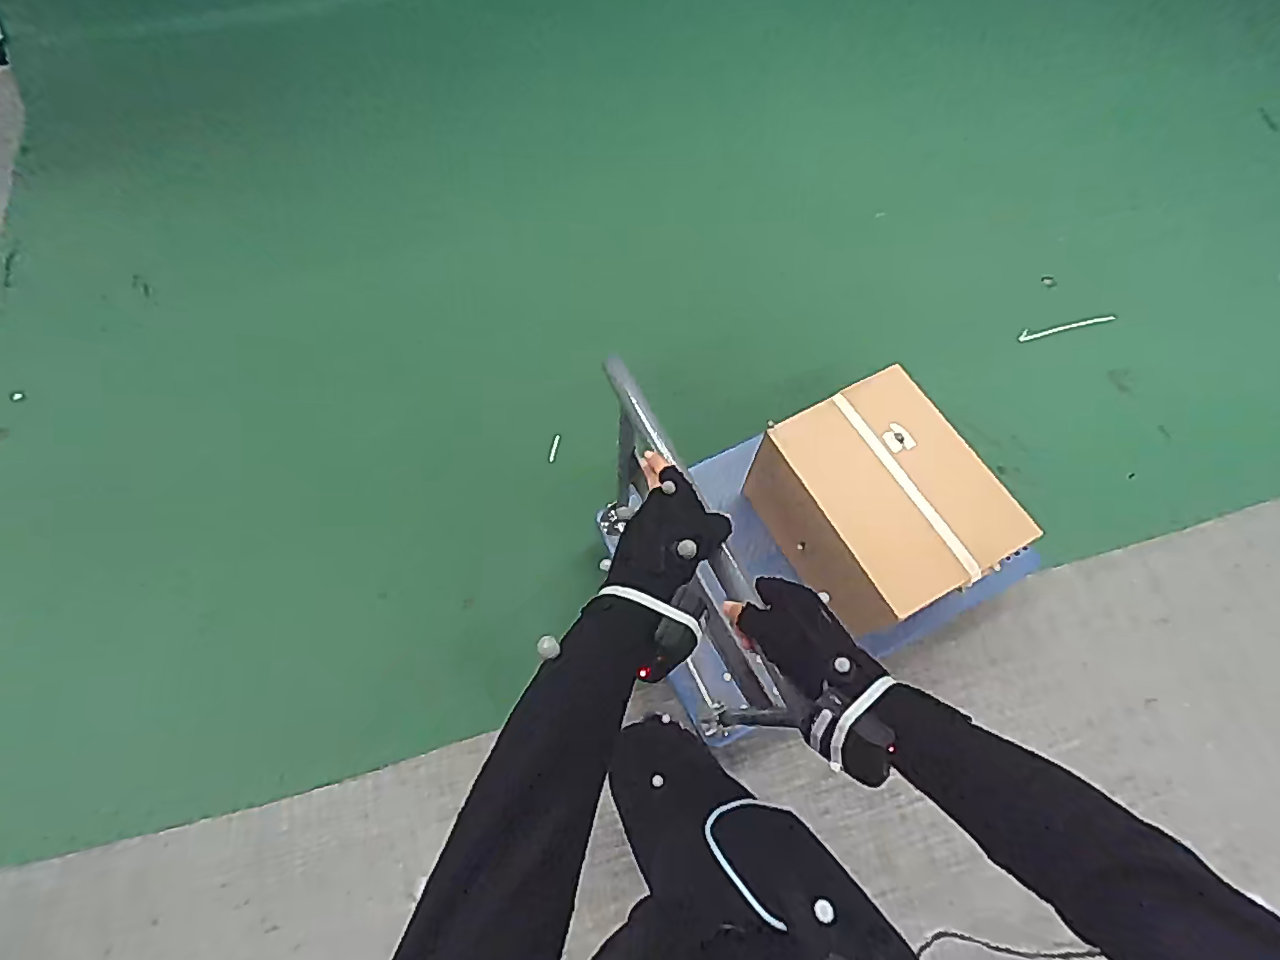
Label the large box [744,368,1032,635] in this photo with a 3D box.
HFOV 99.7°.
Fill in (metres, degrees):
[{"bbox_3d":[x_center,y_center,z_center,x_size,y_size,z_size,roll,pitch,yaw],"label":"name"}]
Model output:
[{"bbox_3d":[0.470,0.057,1.131,0.320,0.320,0.408,-27,69,-10],"label":"large box"}]
